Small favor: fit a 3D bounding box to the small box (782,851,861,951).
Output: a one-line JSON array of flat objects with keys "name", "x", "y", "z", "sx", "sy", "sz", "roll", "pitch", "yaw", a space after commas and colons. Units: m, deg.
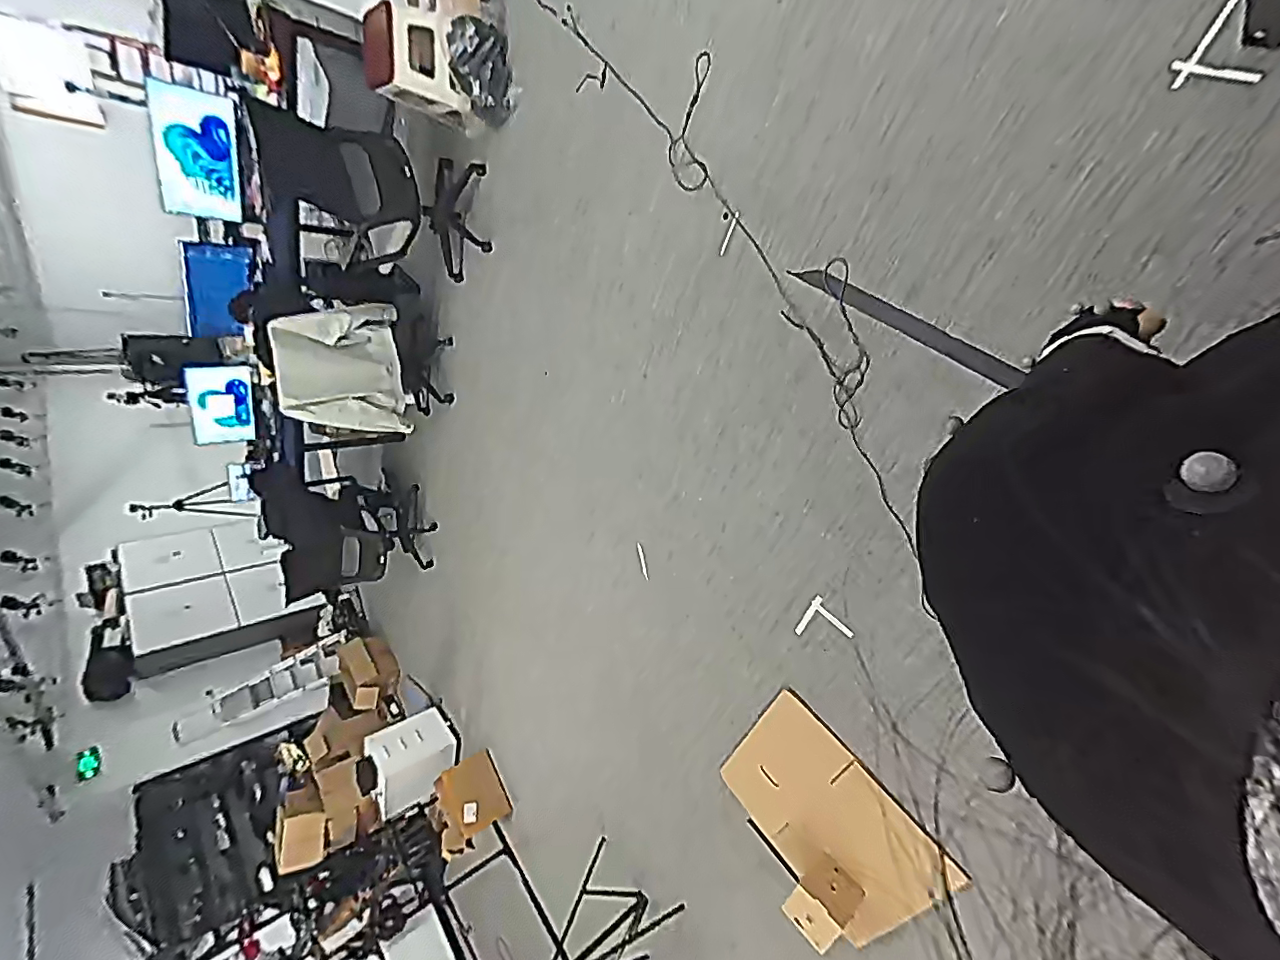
[{"name": "small box", "x": 0.613, "y": 1.401, "z": 1.811, "sx": 0.168, "sy": 0.176, "sz": 0.179, "roll": 37, "pitch": 124, "yaw": 35}]
